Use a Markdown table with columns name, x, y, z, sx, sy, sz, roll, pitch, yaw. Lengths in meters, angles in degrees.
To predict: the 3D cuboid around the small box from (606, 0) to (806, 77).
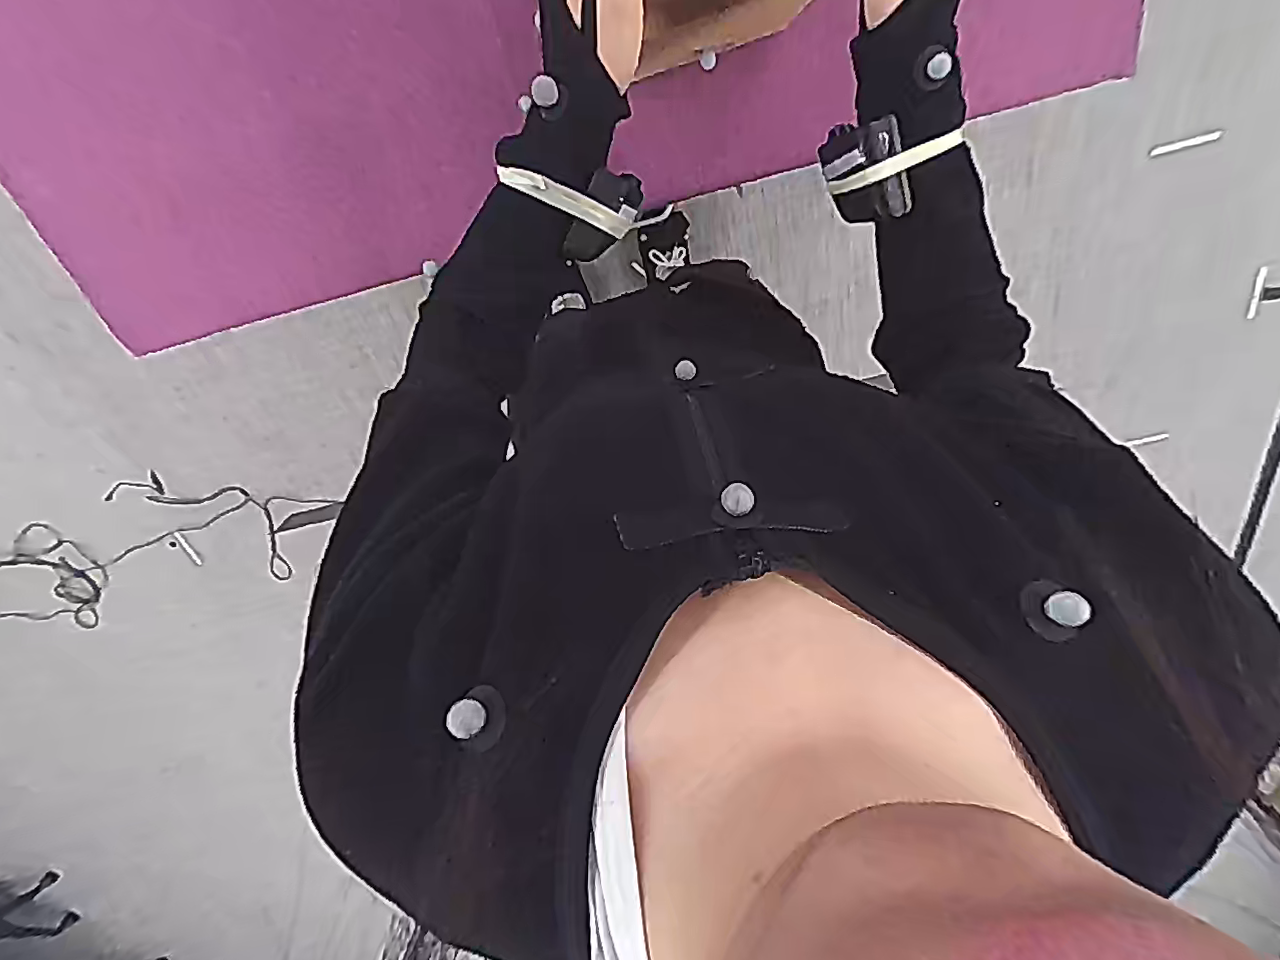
| name | x | y | z | sx | sy | sz | roll | pitch | yaw |
| --- | --- | --- | --- | --- | --- | --- | --- | --- | --- |
| small box | 0.043 | -0.476 | 0.450 | 0.168 | 0.176 | 0.179 | -14 | 118 | 5 |
